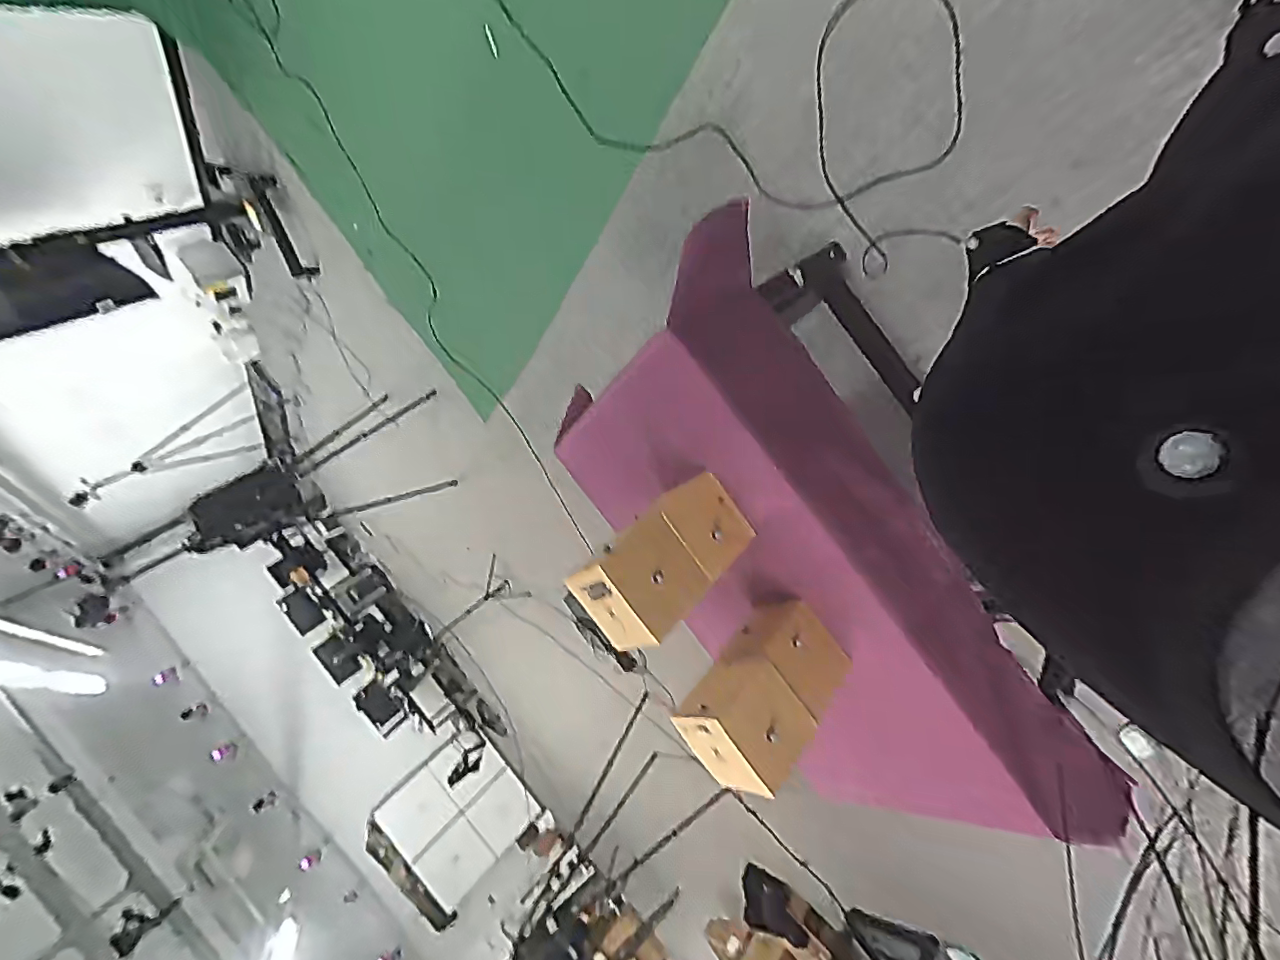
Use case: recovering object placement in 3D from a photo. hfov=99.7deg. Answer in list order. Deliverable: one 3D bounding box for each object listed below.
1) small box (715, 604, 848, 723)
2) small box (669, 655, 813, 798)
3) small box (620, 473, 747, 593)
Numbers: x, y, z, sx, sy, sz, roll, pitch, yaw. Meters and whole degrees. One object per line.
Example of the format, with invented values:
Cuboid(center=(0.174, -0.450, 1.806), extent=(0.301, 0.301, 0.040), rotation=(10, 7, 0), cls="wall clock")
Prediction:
Cuboid(center=(0.298, 0.378, 1.136), extent=(0.179, 0.176, 0.168), rotation=(53, 145, -2), cls="small box")
Cuboid(center=(0.197, 0.463, 1.038), extent=(0.179, 0.176, 0.168), rotation=(53, 144, -2), cls="small box")
Cuboid(center=(0.098, 0.110, 1.124), extent=(0.168, 0.176, 0.179), rotation=(54, 145, -3), cls="small box")
